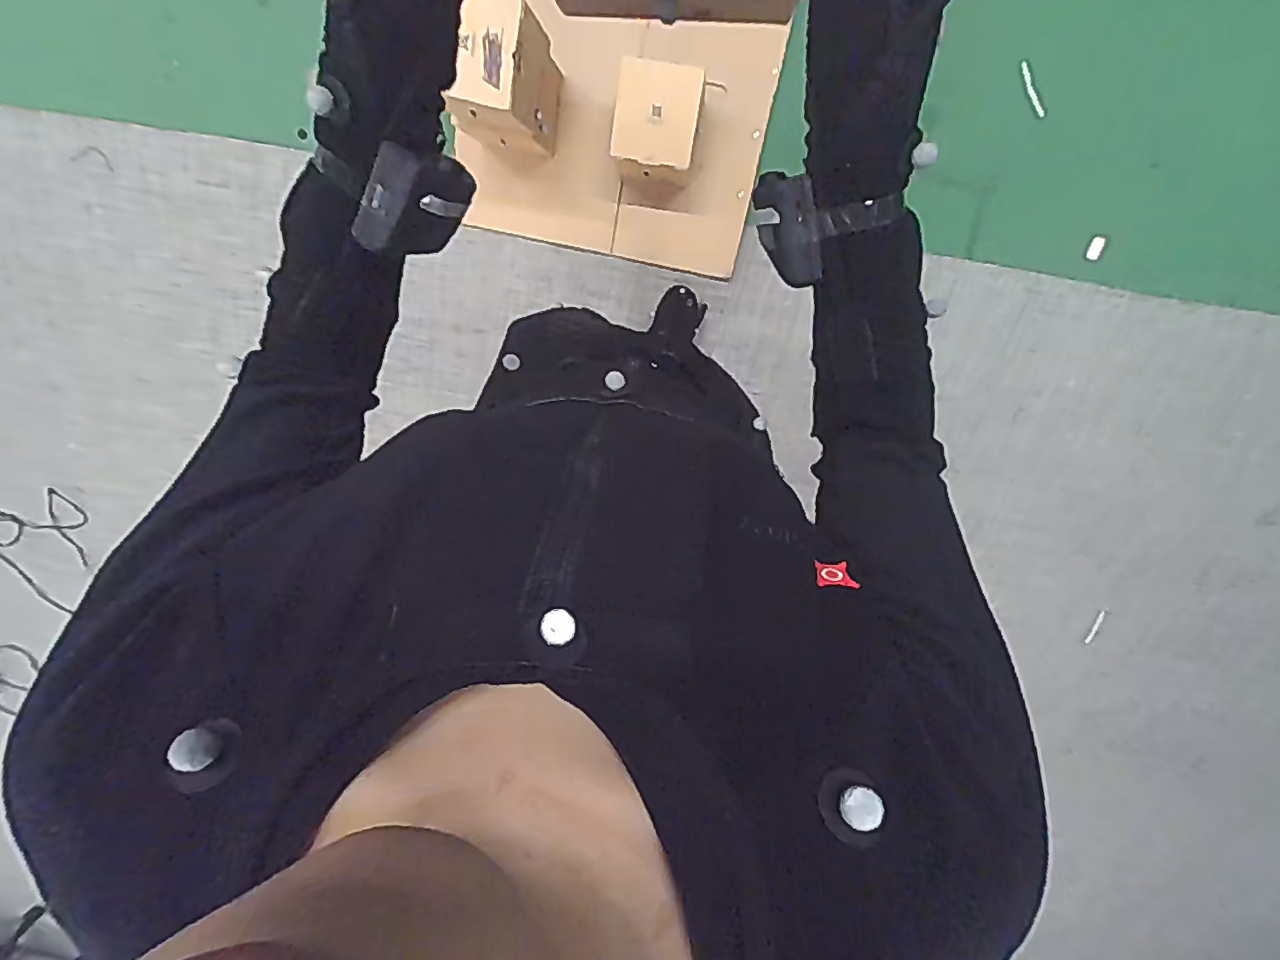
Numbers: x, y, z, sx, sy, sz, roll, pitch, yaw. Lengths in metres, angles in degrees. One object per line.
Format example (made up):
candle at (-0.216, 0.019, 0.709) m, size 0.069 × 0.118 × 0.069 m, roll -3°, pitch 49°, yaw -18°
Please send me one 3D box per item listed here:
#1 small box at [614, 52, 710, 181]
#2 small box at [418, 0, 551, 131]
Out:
small box at (0.046, -0.749, 1.133) m, size 0.168 × 0.176 × 0.179 m, roll 10°, pitch 111°, yaw 2°
small box at (-0.274, -0.759, 0.979) m, size 0.179 × 0.176 × 0.168 m, roll 15°, pitch 110°, yaw 2°
